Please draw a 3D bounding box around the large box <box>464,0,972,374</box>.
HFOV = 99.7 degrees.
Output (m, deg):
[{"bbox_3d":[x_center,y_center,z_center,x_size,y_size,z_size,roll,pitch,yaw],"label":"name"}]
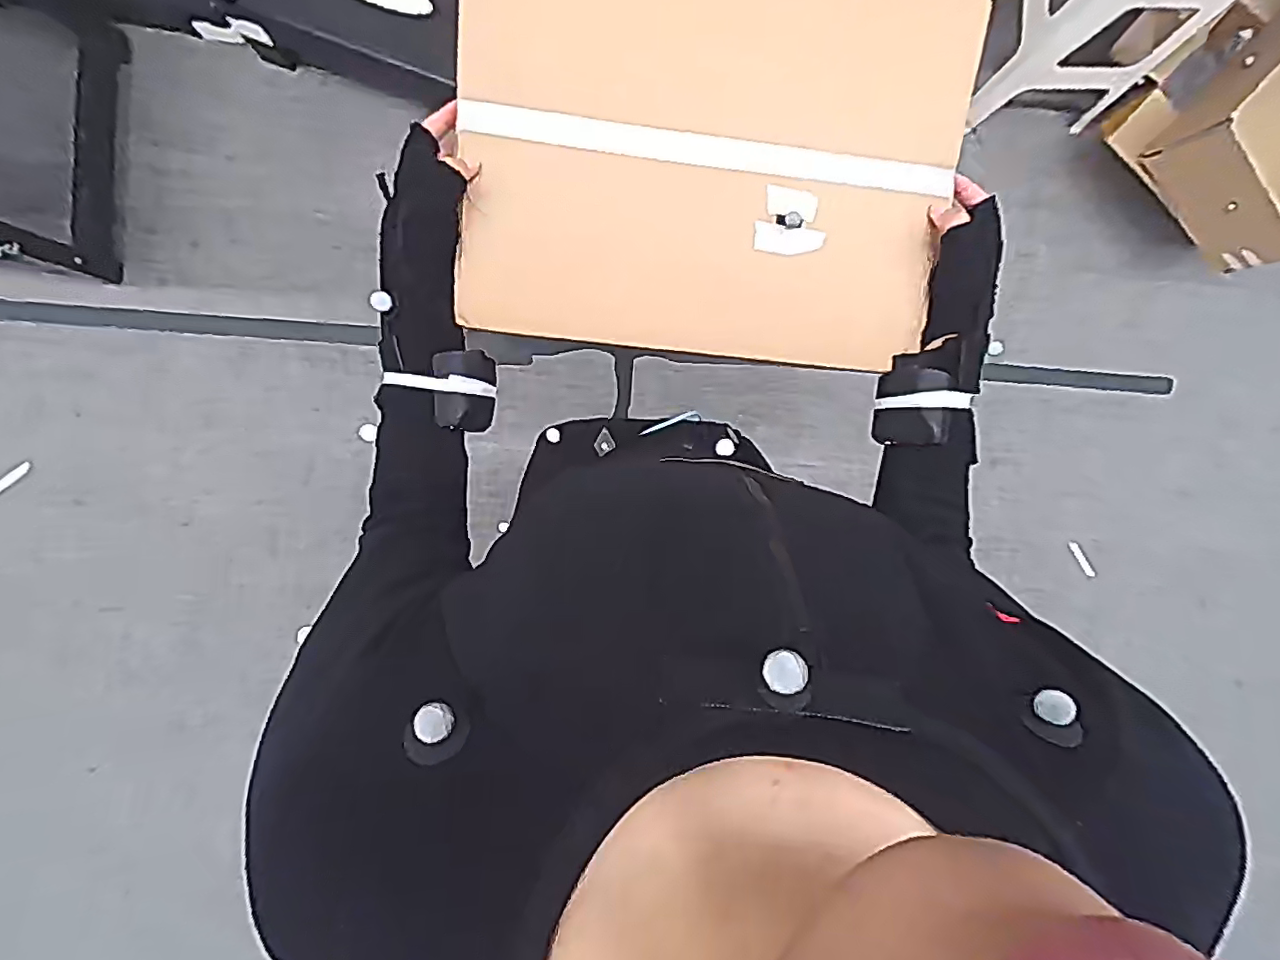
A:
[{"bbox_3d":[0.043,-0.294,0.590,0.408,0.320,0.320,5,104,-7],"label":"large box"}]
